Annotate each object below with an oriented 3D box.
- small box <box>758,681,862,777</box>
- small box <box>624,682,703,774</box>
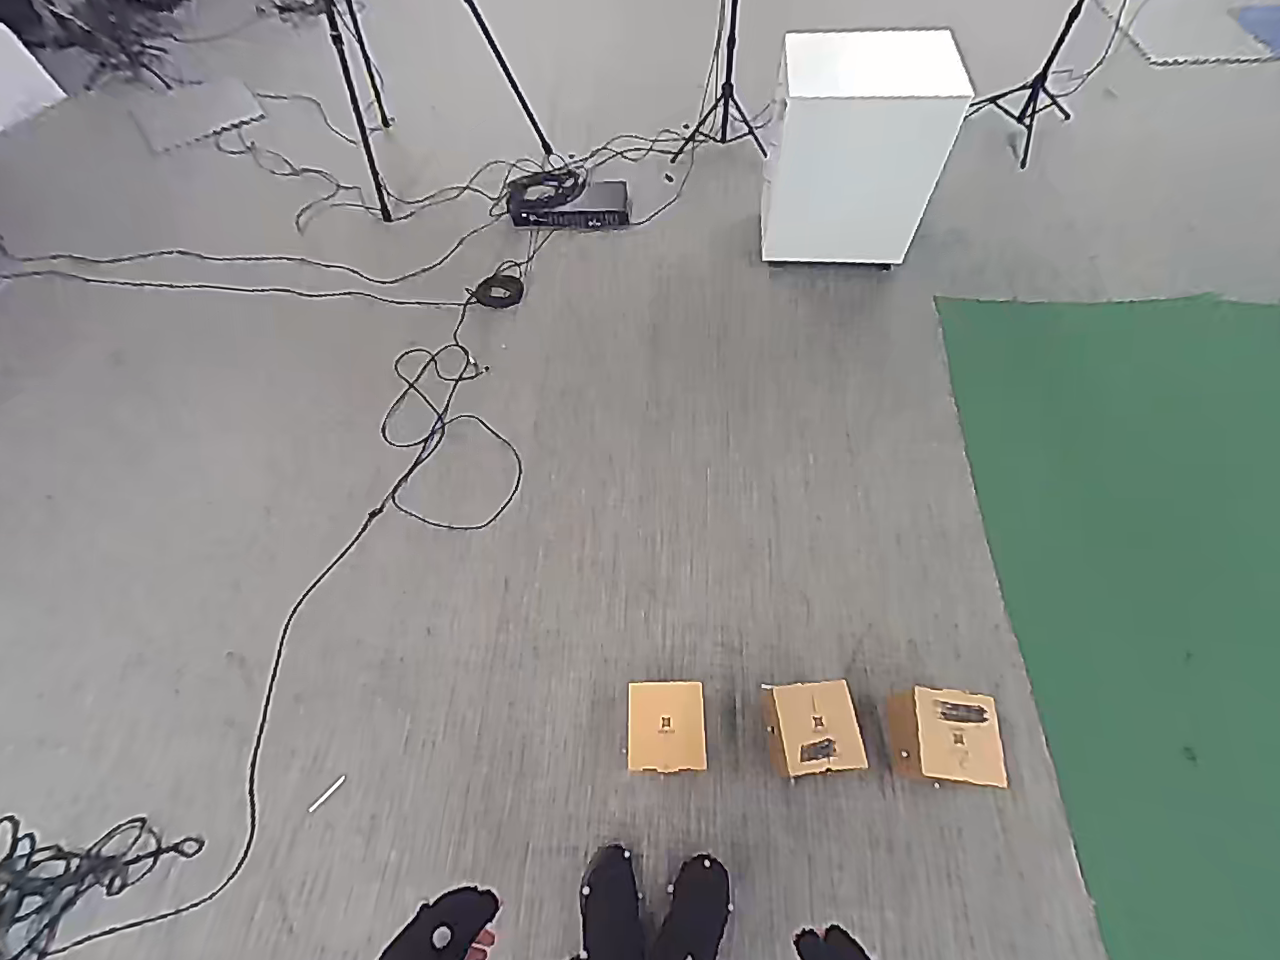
[{"bbox_3d":[0.369,0.558,1.206,0.168,0.176,0.179,-5,60,-1],"label":"small box"},{"bbox_3d":[0.052,0.562,1.221,0.168,0.176,0.179,-2,61,2],"label":"small box"}]
